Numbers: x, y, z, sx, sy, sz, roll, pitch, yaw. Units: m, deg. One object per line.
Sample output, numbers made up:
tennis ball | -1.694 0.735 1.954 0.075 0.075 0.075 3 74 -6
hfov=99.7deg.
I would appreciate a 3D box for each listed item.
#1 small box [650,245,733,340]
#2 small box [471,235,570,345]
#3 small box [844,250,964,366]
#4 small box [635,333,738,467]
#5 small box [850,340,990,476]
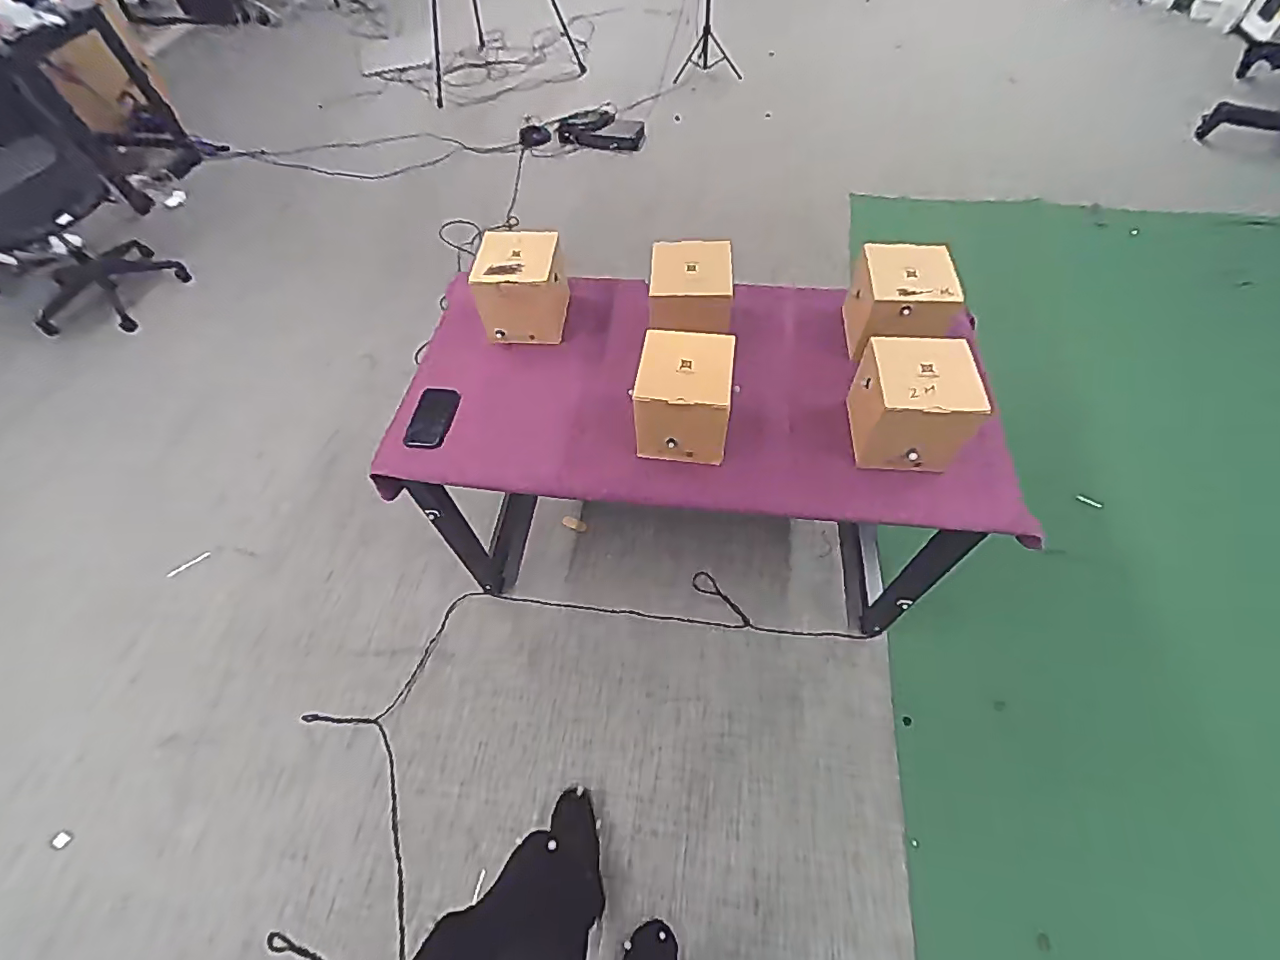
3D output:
small box | 0.110 -0.381 1.169 0.168 0.176 0.179 2 57 5
small box | -0.256 -0.421 1.209 0.168 0.176 0.179 2 56 3
small box | 0.538 -0.355 1.130 0.168 0.176 0.179 3 57 6
small box | 0.086 -0.149 1.016 0.168 0.176 0.179 6 56 7
small box | 0.490 -0.129 0.980 0.168 0.176 0.179 3 56 7
